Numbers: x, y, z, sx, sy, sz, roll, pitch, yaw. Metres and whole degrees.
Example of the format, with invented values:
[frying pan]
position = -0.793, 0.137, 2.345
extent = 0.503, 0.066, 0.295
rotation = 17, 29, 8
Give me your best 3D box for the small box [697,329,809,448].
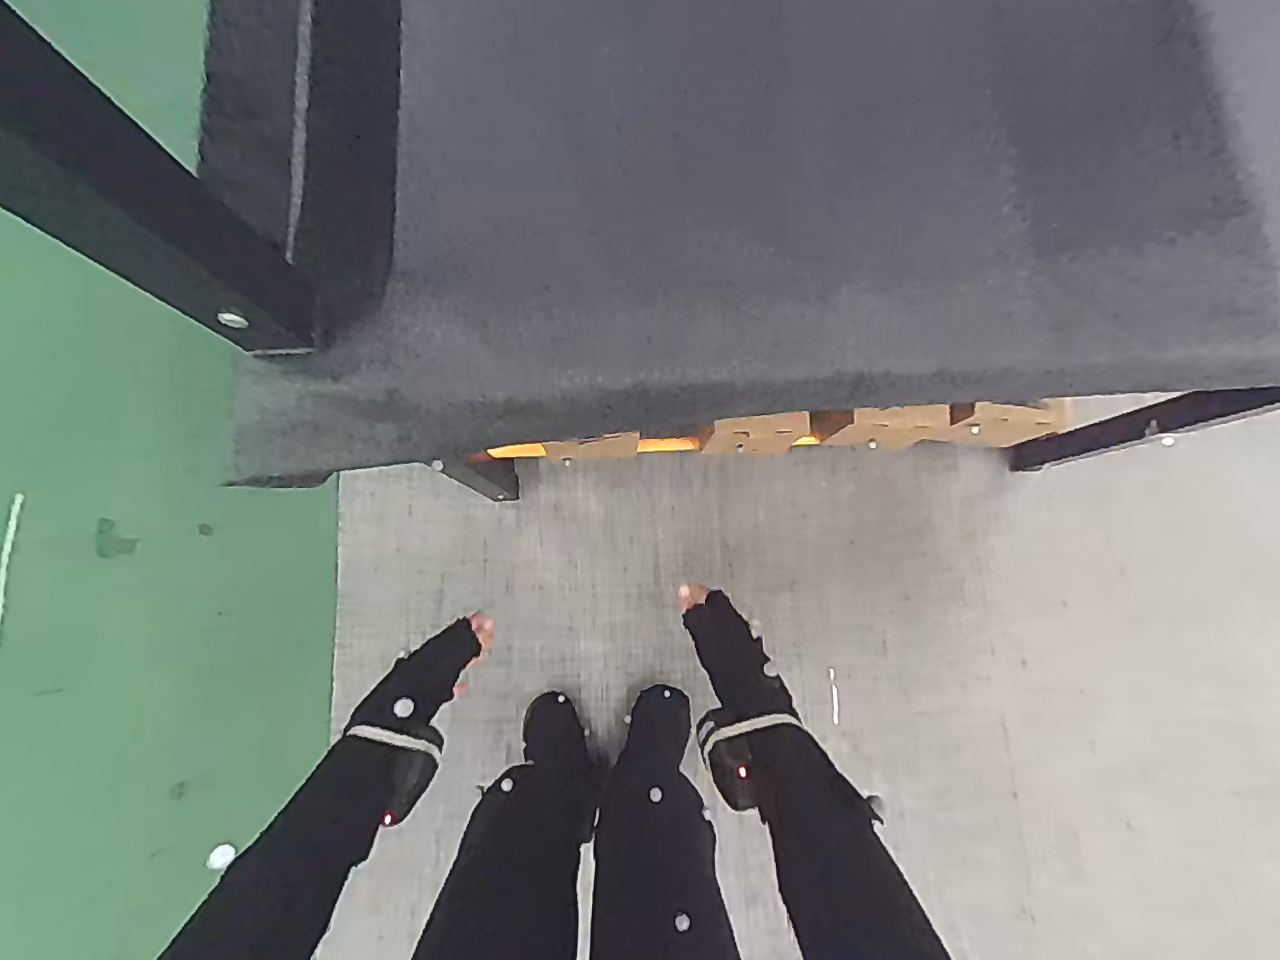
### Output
[small box]
position = 0.198, -0.160, 0.990
extent = 0.168, 0.176, 0.179
rotation = -1, 82, -1
